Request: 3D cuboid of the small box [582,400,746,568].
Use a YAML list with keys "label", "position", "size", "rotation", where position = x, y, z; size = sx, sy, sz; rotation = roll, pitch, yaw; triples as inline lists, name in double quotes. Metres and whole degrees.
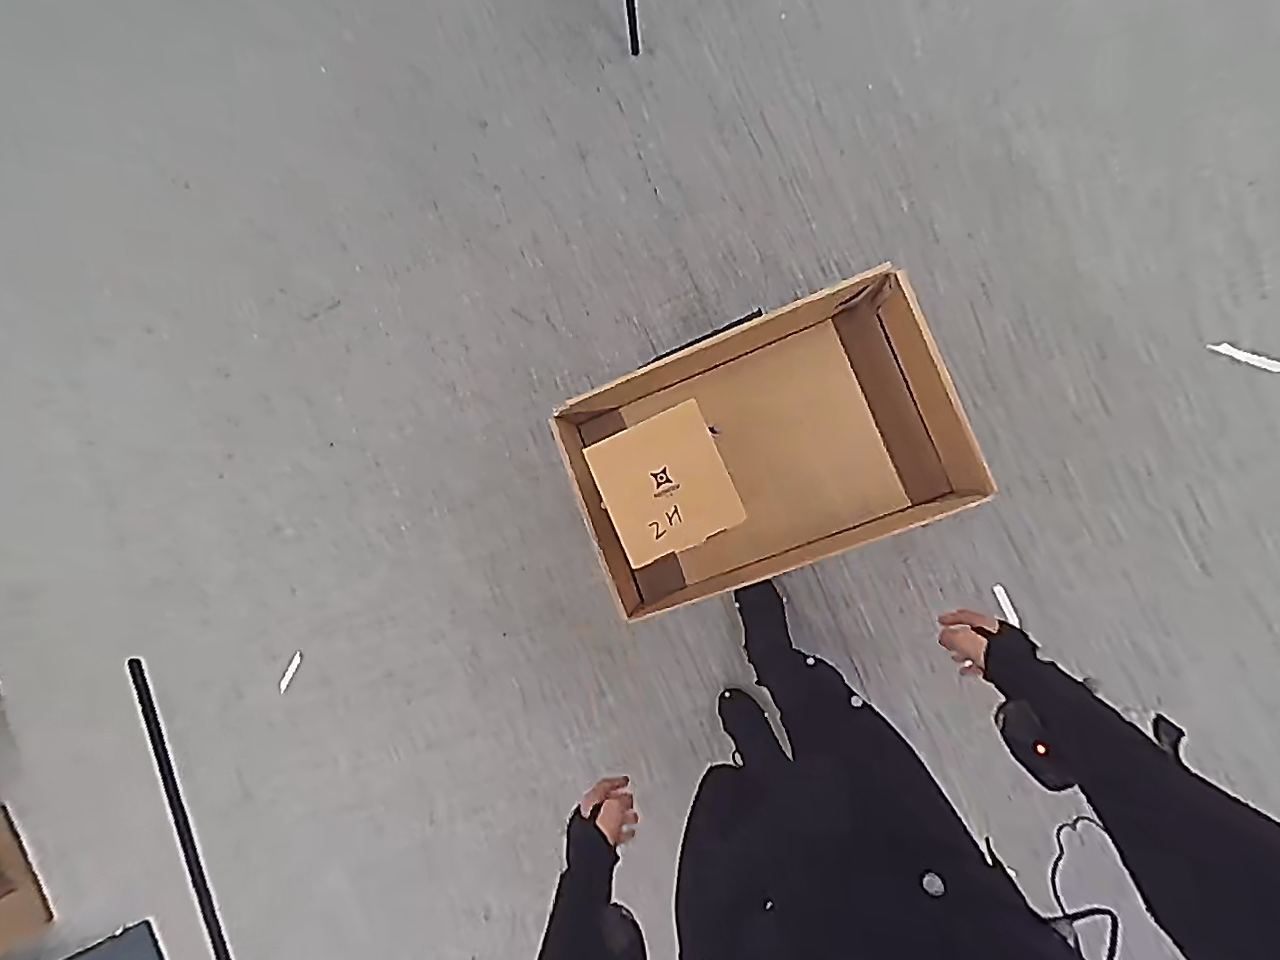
- label: "small box"
  position: [0.041, 0.009, 0.777]
  size: [0.168, 0.176, 0.179]
  rotation: [-24, 85, 9]
